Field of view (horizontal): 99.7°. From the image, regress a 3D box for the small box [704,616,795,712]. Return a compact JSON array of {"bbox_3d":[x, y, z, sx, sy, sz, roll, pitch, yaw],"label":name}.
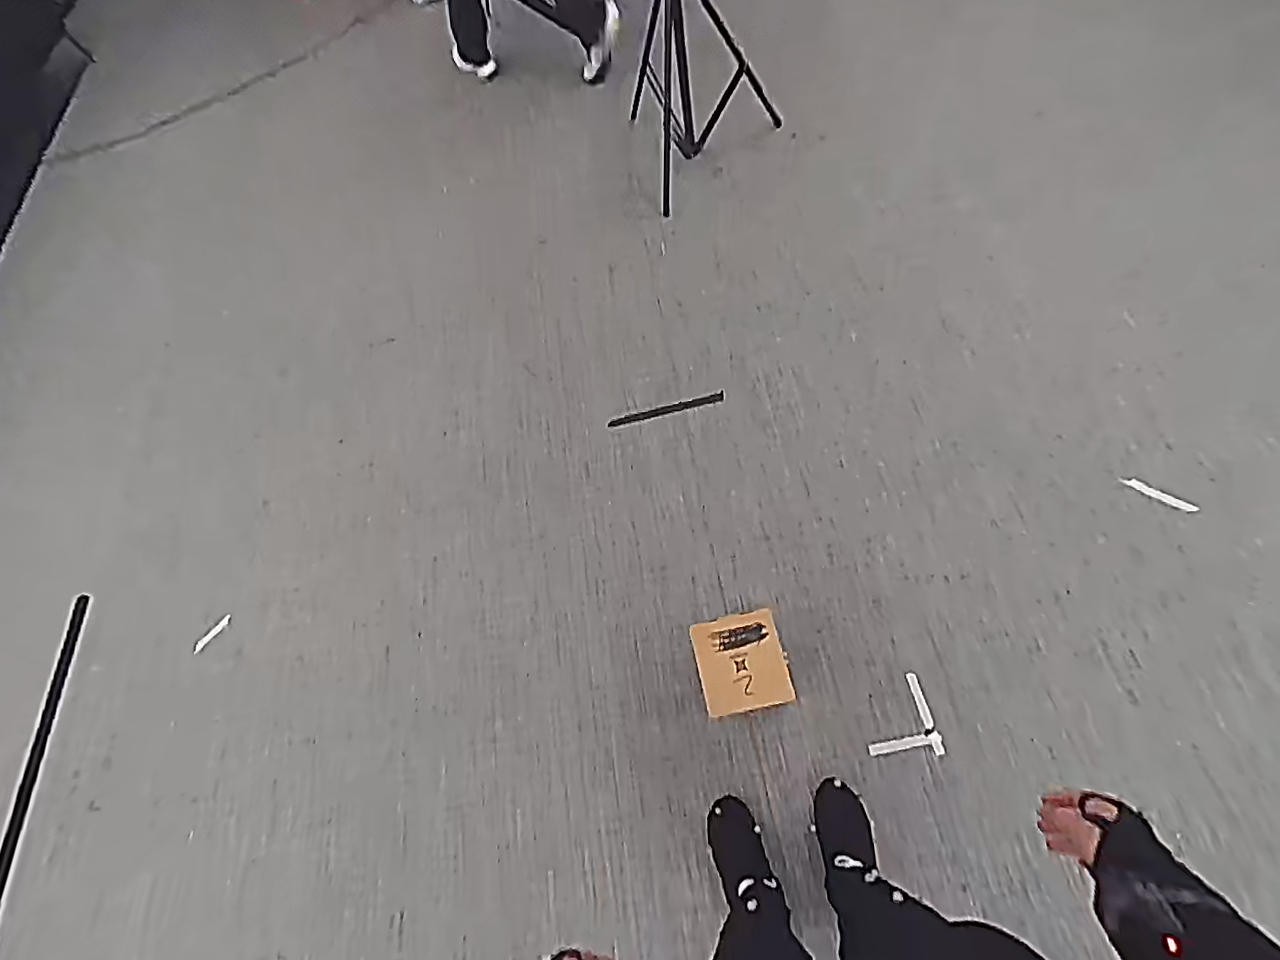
[{"bbox_3d":[0.247,0.431,1.252,0.168,0.176,0.179,-13,65,5],"label":"small box"}]
